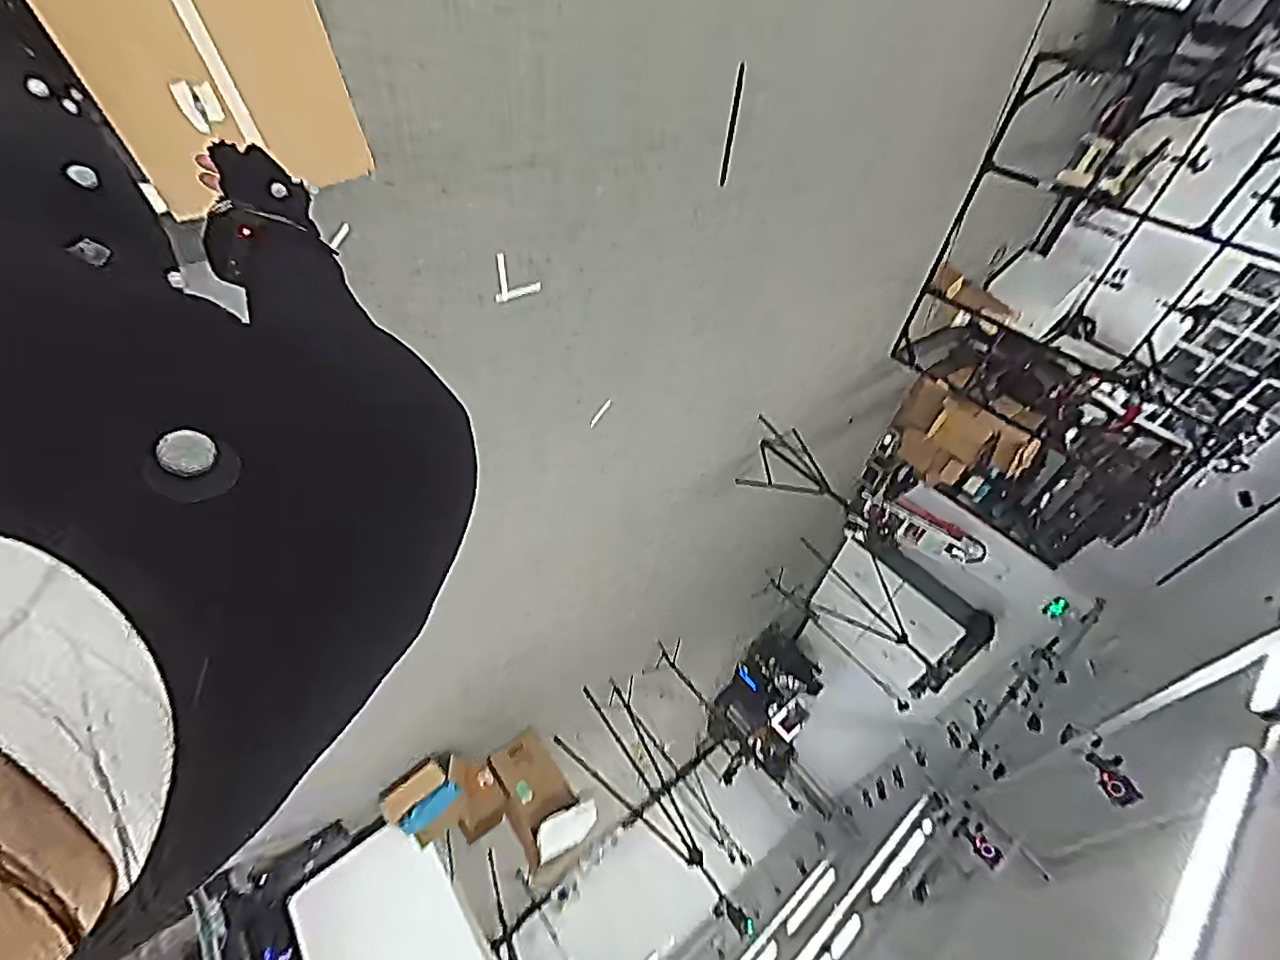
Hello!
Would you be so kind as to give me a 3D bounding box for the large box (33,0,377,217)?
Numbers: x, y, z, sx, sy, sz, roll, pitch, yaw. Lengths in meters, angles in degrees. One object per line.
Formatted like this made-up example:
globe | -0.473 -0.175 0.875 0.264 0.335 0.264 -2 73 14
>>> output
large box | -0.671 -0.695 0.818 0.320 0.320 0.408 -26 145 -19
